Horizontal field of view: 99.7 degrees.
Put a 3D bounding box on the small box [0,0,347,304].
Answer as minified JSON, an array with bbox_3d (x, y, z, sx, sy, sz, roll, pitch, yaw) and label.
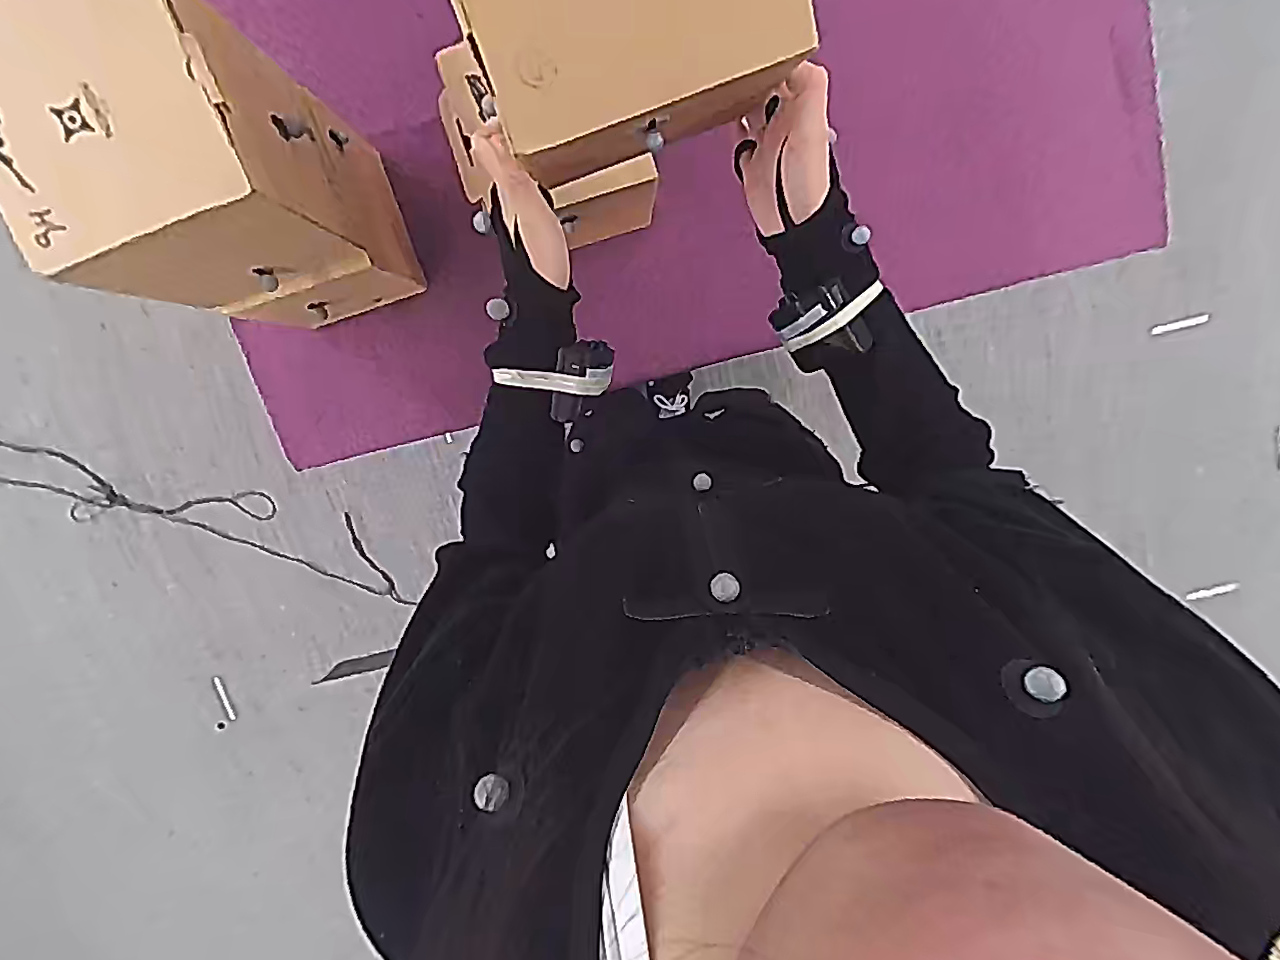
[{"bbox_3d":[-0.380,-0.262,0.451,0.179,0.176,0.168,-20,100,1],"label":"small box"}]

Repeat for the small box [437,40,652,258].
[{"bbox_3d":[-0.092,-0.367,0.604,0.179,0.176,0.168,-17,101,1],"label":"small box"}]

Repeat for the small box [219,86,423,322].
[{"bbox_3d":[-0.376,-0.288,0.613,0.168,0.176,0.179,-18,100,2],"label":"small box"}]

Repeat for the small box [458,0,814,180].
[{"bbox_3d":[-0.017,-0.307,0.336,0.179,0.176,0.168,-18,113,3],"label":"small box"}]
